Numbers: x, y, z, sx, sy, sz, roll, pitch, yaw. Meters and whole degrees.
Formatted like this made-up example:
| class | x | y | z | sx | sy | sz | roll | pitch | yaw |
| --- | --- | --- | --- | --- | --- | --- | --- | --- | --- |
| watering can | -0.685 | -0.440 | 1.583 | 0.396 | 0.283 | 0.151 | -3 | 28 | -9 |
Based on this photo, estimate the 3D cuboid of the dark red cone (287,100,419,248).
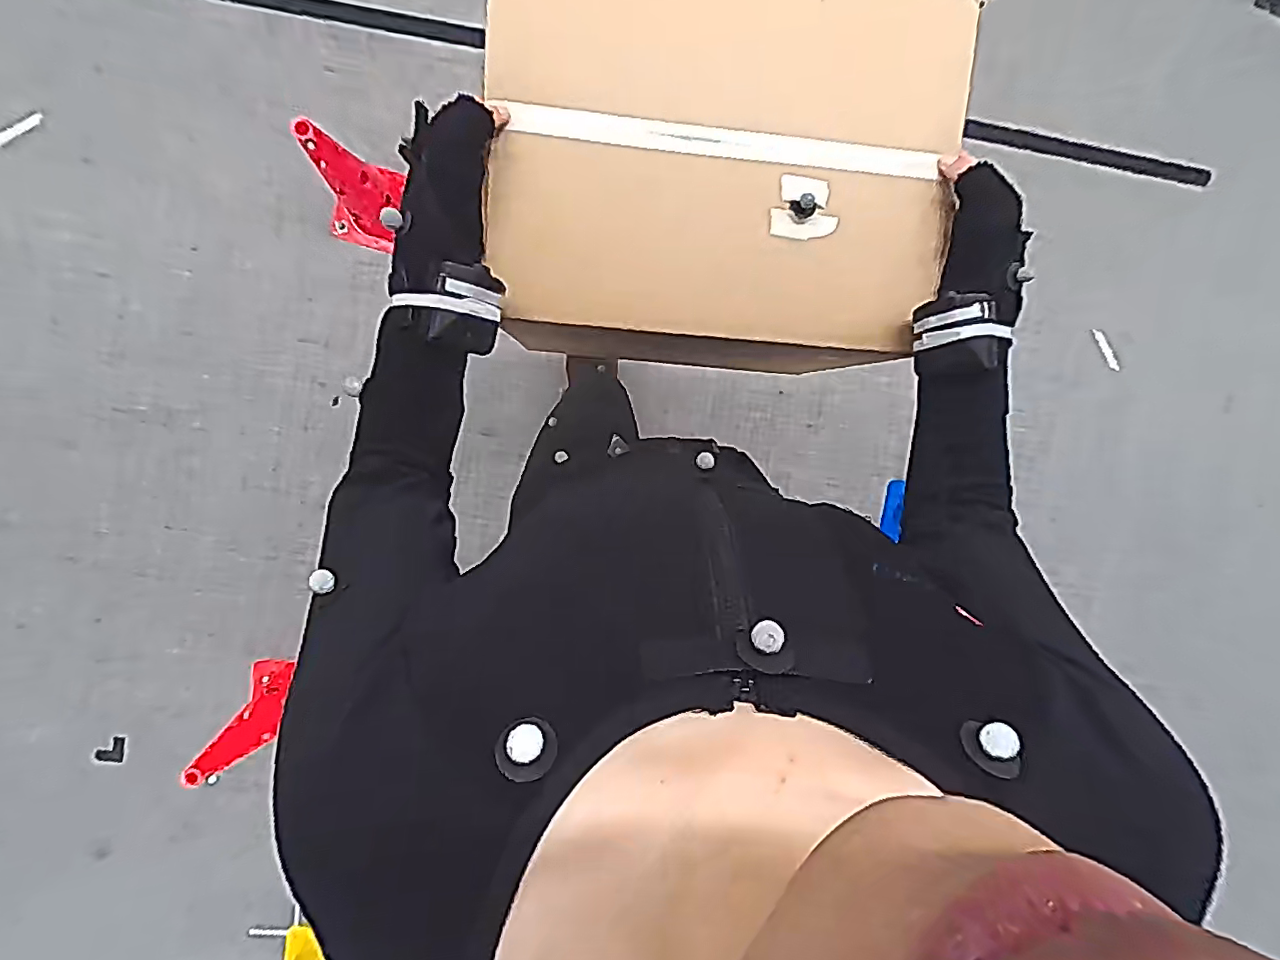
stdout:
| class | x | y | z | sx | sy | sz | roll | pitch | yaw |
| --- | --- | --- | --- | --- | --- | --- | --- | --- | --- |
| dark red cone | -0.646 | -0.683 | 1.178 | 0.201 | 0.394 | 0.202 | 14 | 93 | -6 |

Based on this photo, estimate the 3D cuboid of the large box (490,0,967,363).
| class | x | y | z | sx | sy | sz | roll | pitch | yaw |
| --- | --- | --- | --- | --- | --- | --- | --- | --- | --- |
| large box | 0.061 | -0.311 | 0.606 | 0.408 | 0.320 | 0.320 | 3 | 98 | -6 |

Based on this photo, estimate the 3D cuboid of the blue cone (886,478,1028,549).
| class | x | y | z | sx | sy | sz | roll | pitch | yaw |
| --- | --- | --- | --- | --- | --- | --- | --- | --- | --- |
| blue cone | 0.813 | 0.107 | 1.375 | 0.192 | 0.380 | 0.193 | 11 | 93 | -6 |

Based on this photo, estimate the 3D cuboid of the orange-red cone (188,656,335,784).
| class | x | y | z | sx | sy | sz | roll | pitch | yaw |
| --- | --- | --- | --- | --- | --- | --- | --- | --- | --- |
| orange-red cone | -0.908 | 0.587 | 1.271 | 0.198 | 0.360 | 0.199 | 6 | 95 | -3 |
